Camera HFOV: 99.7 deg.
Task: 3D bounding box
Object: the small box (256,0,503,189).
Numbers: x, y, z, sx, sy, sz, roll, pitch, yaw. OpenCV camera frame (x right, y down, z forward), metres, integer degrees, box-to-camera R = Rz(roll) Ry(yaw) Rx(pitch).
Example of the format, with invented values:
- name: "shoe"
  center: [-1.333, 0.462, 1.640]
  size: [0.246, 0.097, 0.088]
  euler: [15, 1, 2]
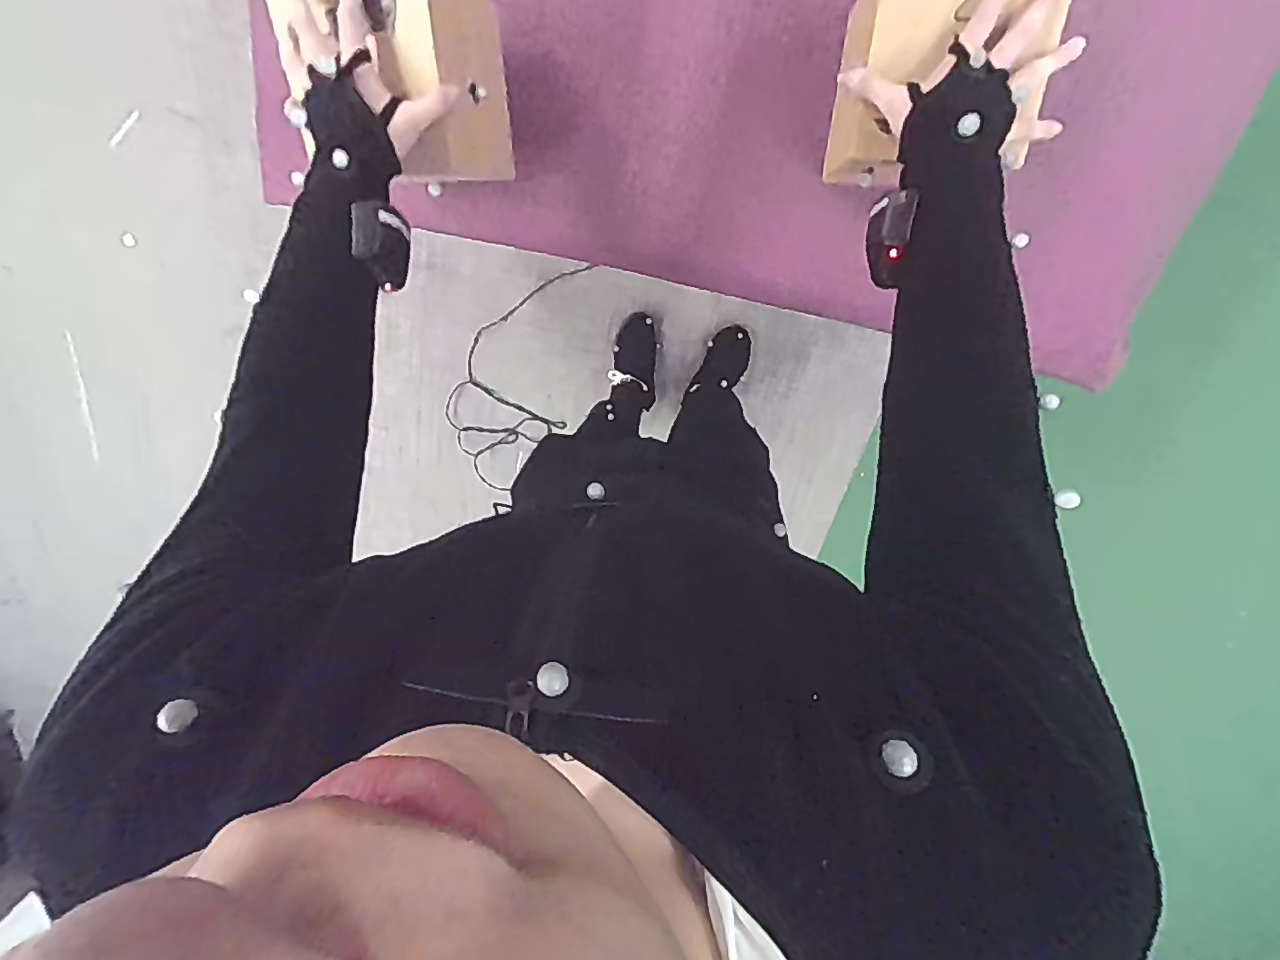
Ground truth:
- name: "small box"
  center: [-0.268, -0.426, 0.602]
  size: [0.168, 0.176, 0.179]
  euler: [3, 119, 9]
